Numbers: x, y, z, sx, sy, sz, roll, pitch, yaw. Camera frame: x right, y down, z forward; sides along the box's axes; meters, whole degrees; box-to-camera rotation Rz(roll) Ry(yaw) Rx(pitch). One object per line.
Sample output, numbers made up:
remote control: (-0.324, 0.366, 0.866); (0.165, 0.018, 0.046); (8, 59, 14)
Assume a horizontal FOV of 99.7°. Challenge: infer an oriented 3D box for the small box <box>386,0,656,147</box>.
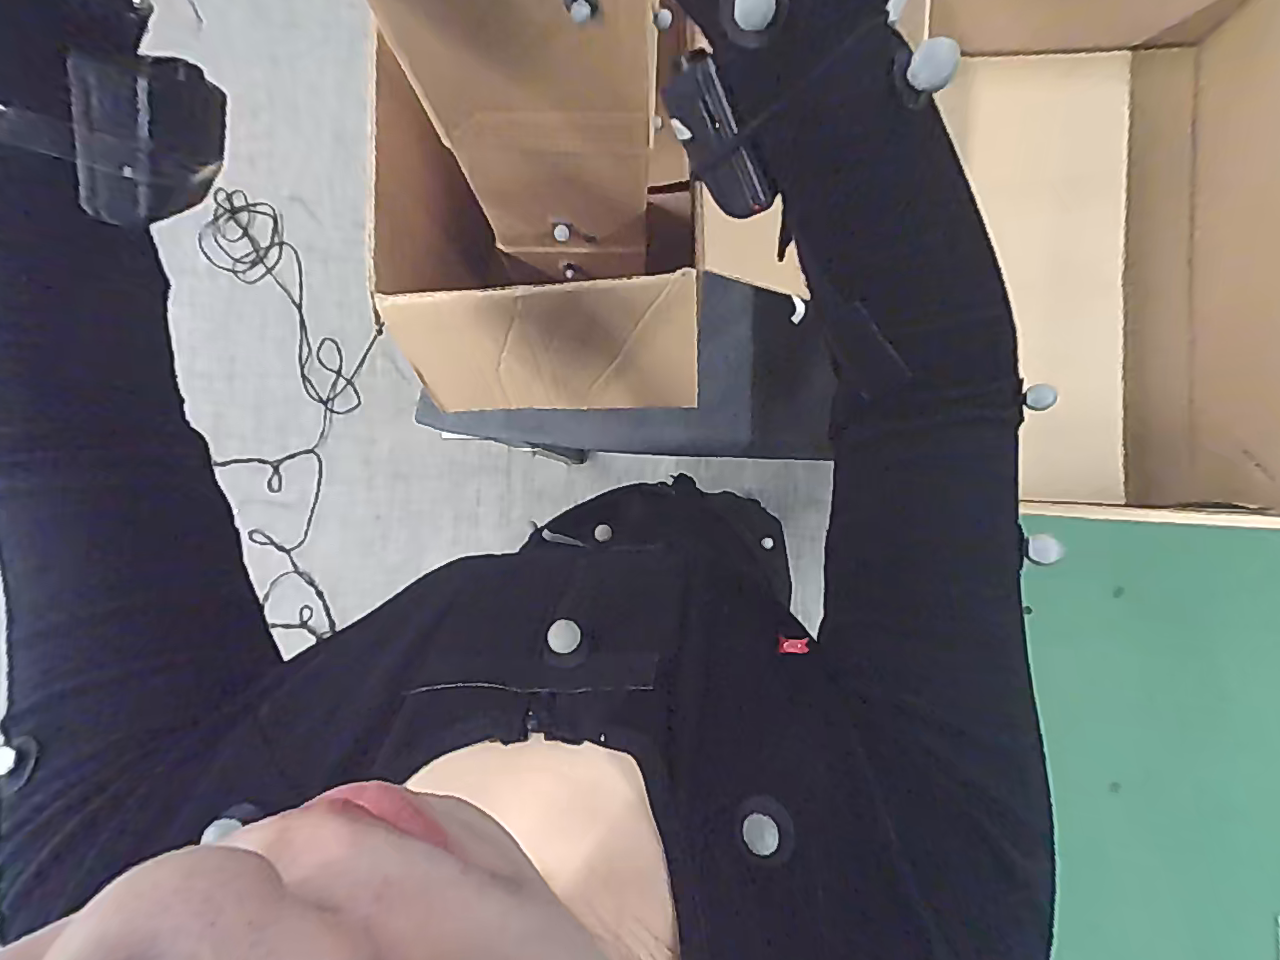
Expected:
small box: (-0.076, -0.366, 0.378); (0.179, 0.176, 0.168); (2, 87, 0)
